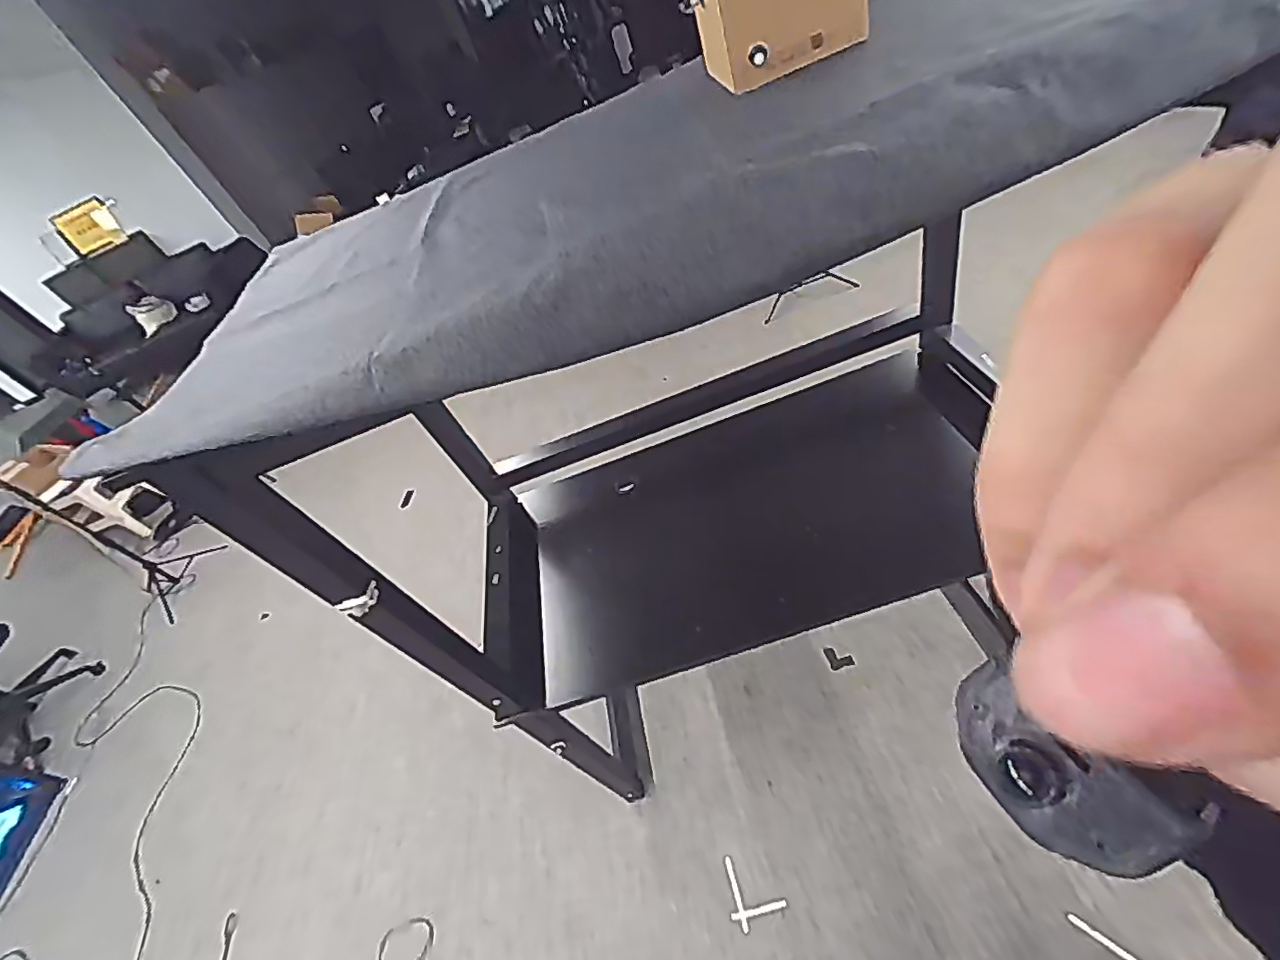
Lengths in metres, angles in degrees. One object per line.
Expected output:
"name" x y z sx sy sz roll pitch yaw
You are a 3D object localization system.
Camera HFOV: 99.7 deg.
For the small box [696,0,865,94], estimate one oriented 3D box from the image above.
"small box" 0.162 -0.606 0.660 0.168 0.176 0.179 -18 44 9
